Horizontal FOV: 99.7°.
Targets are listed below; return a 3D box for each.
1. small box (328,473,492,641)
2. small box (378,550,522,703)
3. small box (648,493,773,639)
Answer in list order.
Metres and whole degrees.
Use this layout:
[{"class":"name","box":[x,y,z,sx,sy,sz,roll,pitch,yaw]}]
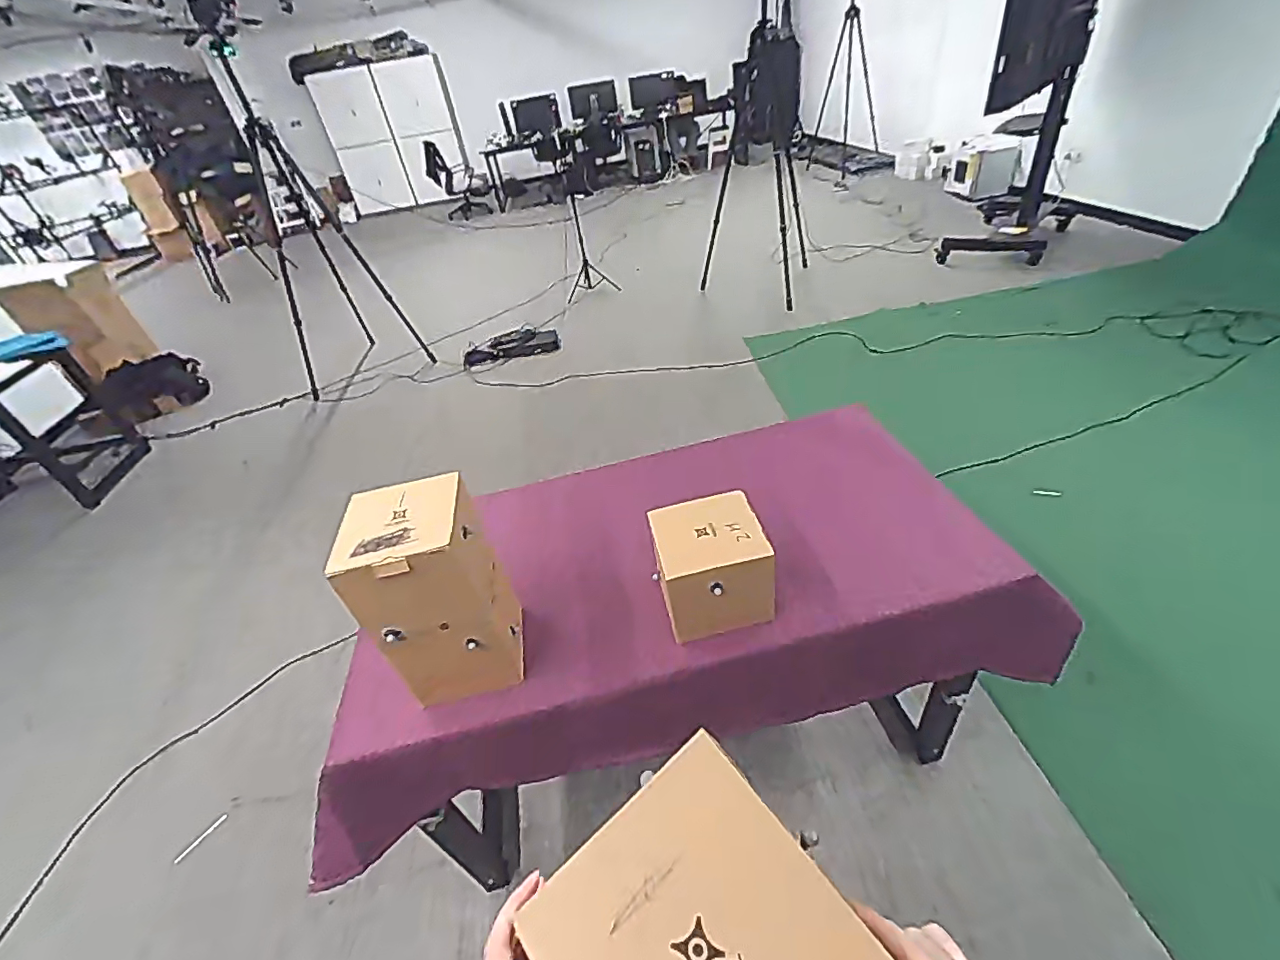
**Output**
[{"class":"small box","box":[-0.329,0.120,0.813,0.168,0.176,0.179,-13,37,-5]},{"class":"small box","box":[-0.307,0.249,0.913,0.179,0.176,0.168,-12,38,-5]},{"class":"small box","box":[0.122,0.151,0.935,0.179,0.176,0.168,-12,39,-2]}]
